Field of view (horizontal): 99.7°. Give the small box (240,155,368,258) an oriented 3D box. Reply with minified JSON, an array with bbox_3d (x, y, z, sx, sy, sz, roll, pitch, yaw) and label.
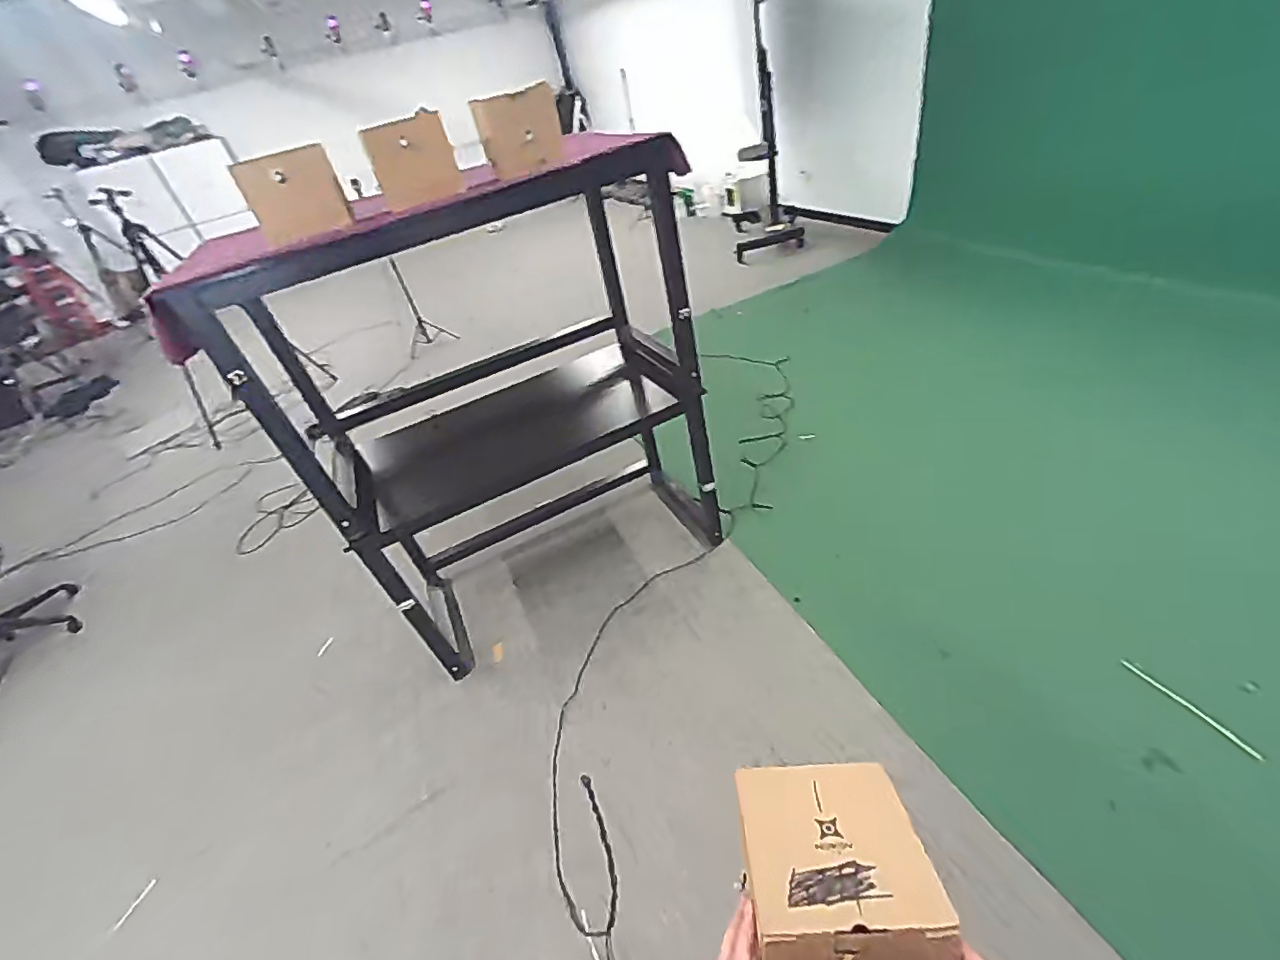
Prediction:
[{"bbox_3d":[-0.743,-0.616,1.216,0.179,0.176,0.168,-22,37,-11],"label":"small box"}]

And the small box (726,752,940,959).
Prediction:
[{"bbox_3d":[0.185,0.419,0.559,0.168,0.176,0.179,-5,16,3],"label":"small box"}]

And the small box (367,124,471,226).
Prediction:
[{"bbox_3d":[-0.516,-0.720,1.277,0.179,0.176,0.168,-26,37,-14],"label":"small box"}]
